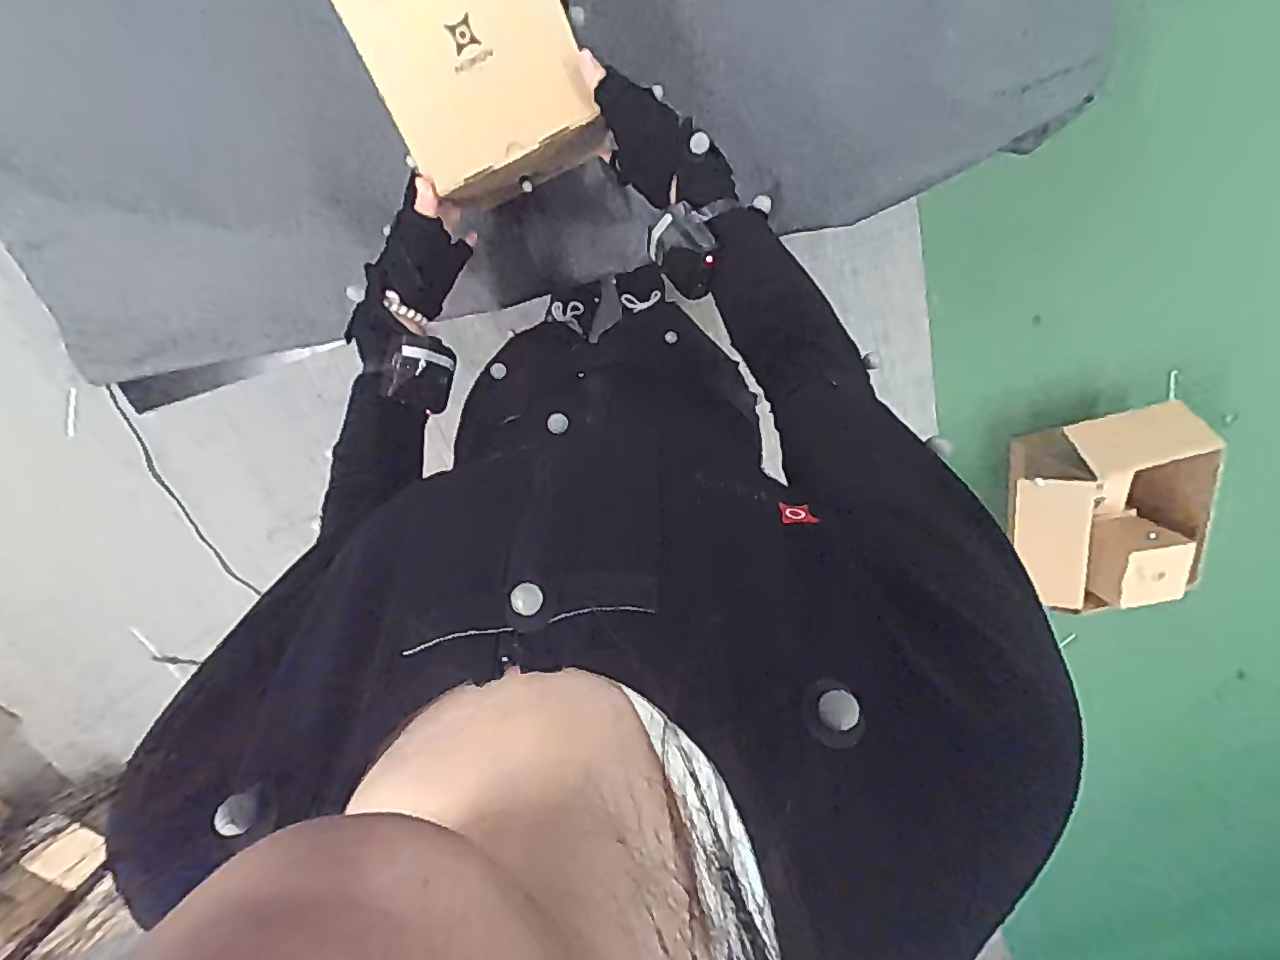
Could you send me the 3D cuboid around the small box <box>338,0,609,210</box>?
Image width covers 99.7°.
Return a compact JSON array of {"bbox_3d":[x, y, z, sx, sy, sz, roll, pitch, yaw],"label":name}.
[{"bbox_3d":[-0.139,-0.379,0.510,0.168,0.176,0.179,-23,113,7],"label":"small box"}]
